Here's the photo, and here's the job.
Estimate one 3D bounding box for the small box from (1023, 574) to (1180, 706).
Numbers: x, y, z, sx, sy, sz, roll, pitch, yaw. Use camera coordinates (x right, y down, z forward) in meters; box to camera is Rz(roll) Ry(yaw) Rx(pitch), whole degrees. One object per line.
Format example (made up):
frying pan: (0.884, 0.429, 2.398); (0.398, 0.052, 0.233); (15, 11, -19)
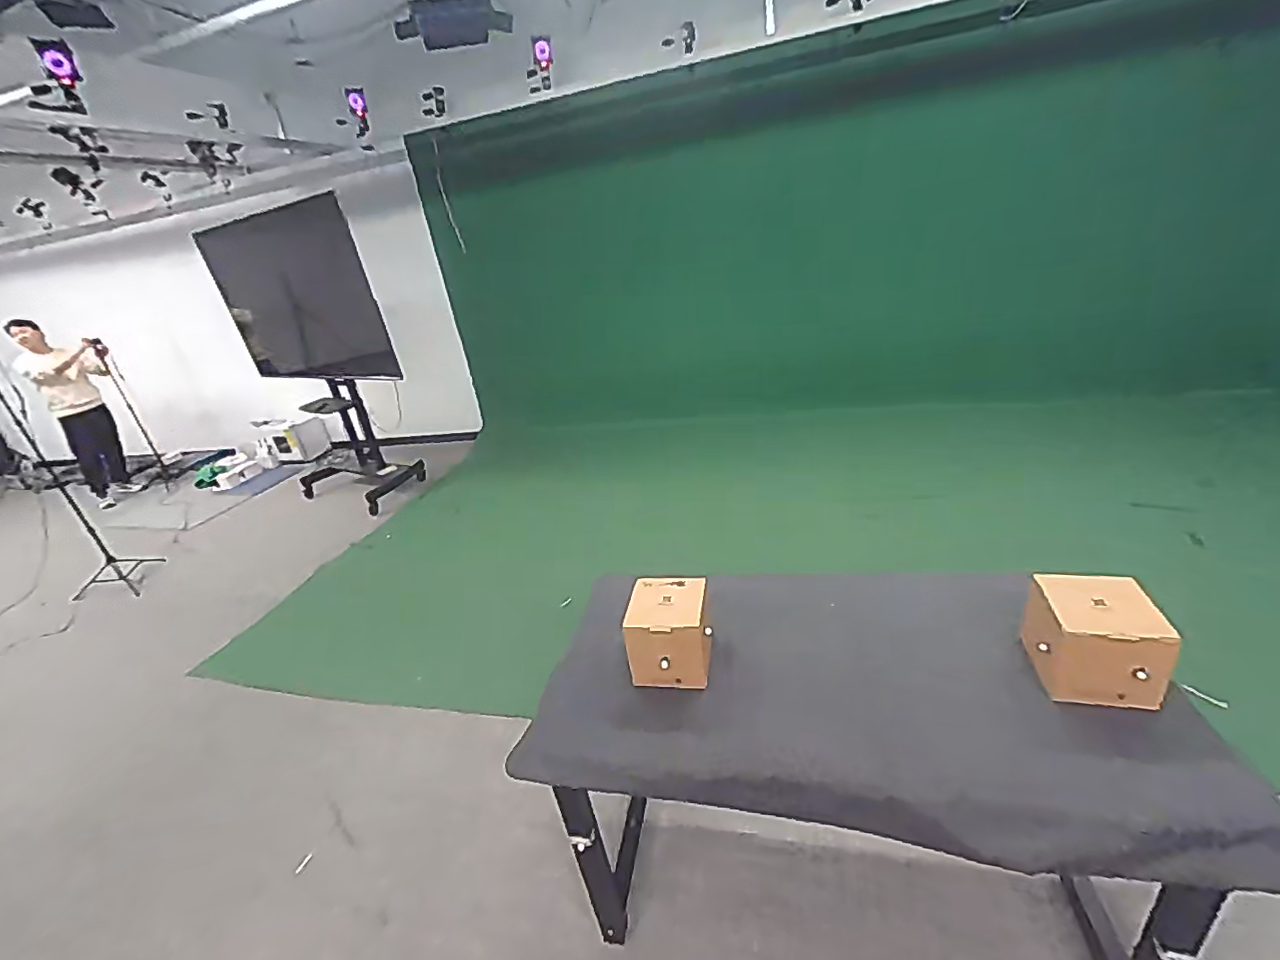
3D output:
small box: (0.855, 0.298, 1.023); (0.168, 0.176, 0.179); (-1, 25, 18)

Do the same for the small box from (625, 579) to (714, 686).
small box: (0.074, 0.343, 1.223); (0.168, 0.176, 0.179); (-3, 26, 14)
